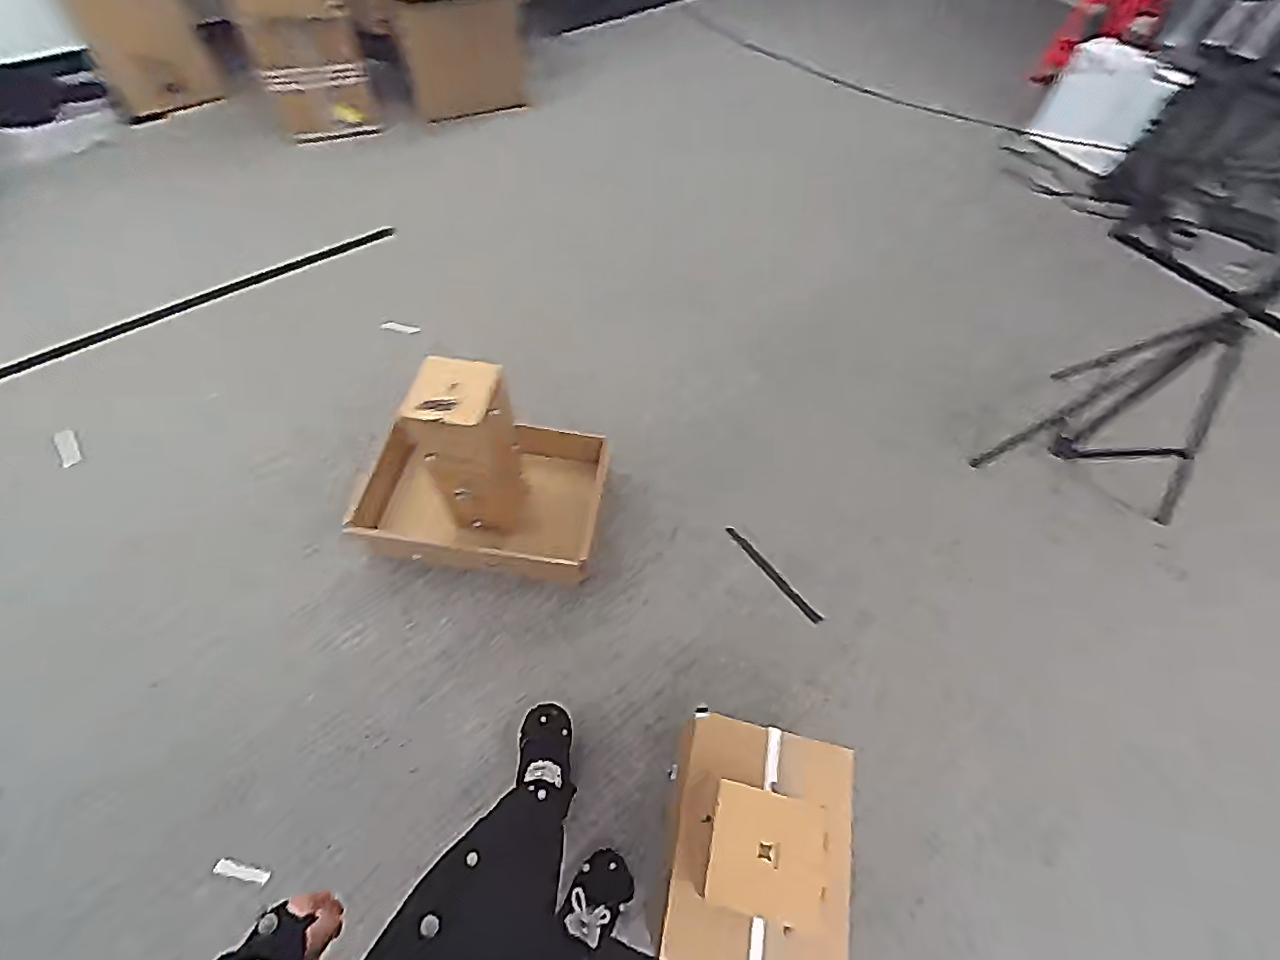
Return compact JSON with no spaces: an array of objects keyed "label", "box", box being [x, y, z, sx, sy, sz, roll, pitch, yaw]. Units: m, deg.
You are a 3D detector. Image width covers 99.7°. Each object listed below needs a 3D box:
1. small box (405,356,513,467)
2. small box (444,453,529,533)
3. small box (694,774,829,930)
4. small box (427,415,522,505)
[{"label":"small box","box":[-0.395,-0.150,1.218,0.168,0.176,0.179,9,58,2]},{"label":"small box","box":[-0.414,0.023,1.495,0.168,0.176,0.179,11,59,3]},{"label":"small box","box":[0.193,0.602,0.891,0.179,0.176,0.168,13,60,4]},{"label":"small box","box":[-0.403,-0.061,1.356,0.168,0.176,0.179,10,60,3]}]
